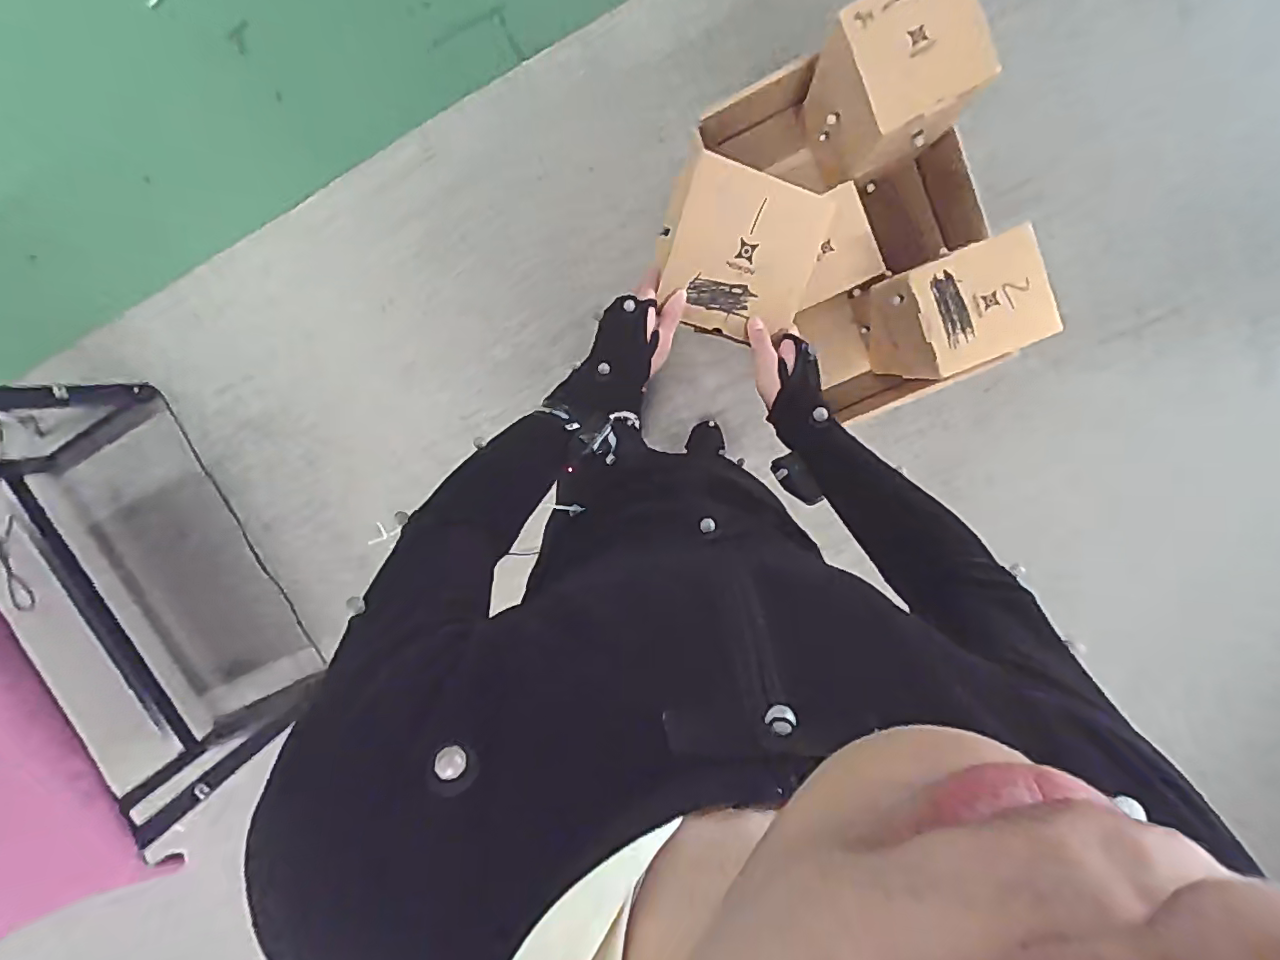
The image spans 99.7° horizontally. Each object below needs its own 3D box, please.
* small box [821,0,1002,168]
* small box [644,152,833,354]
[{"bbox_3d":[0.390,-0.598,0.805,0.168,0.176,0.179,-23,98,11],"label":"small box"},{"bbox_3d":[0.106,-0.273,0.680,0.168,0.176,0.179,13,107,-11],"label":"small box"}]
